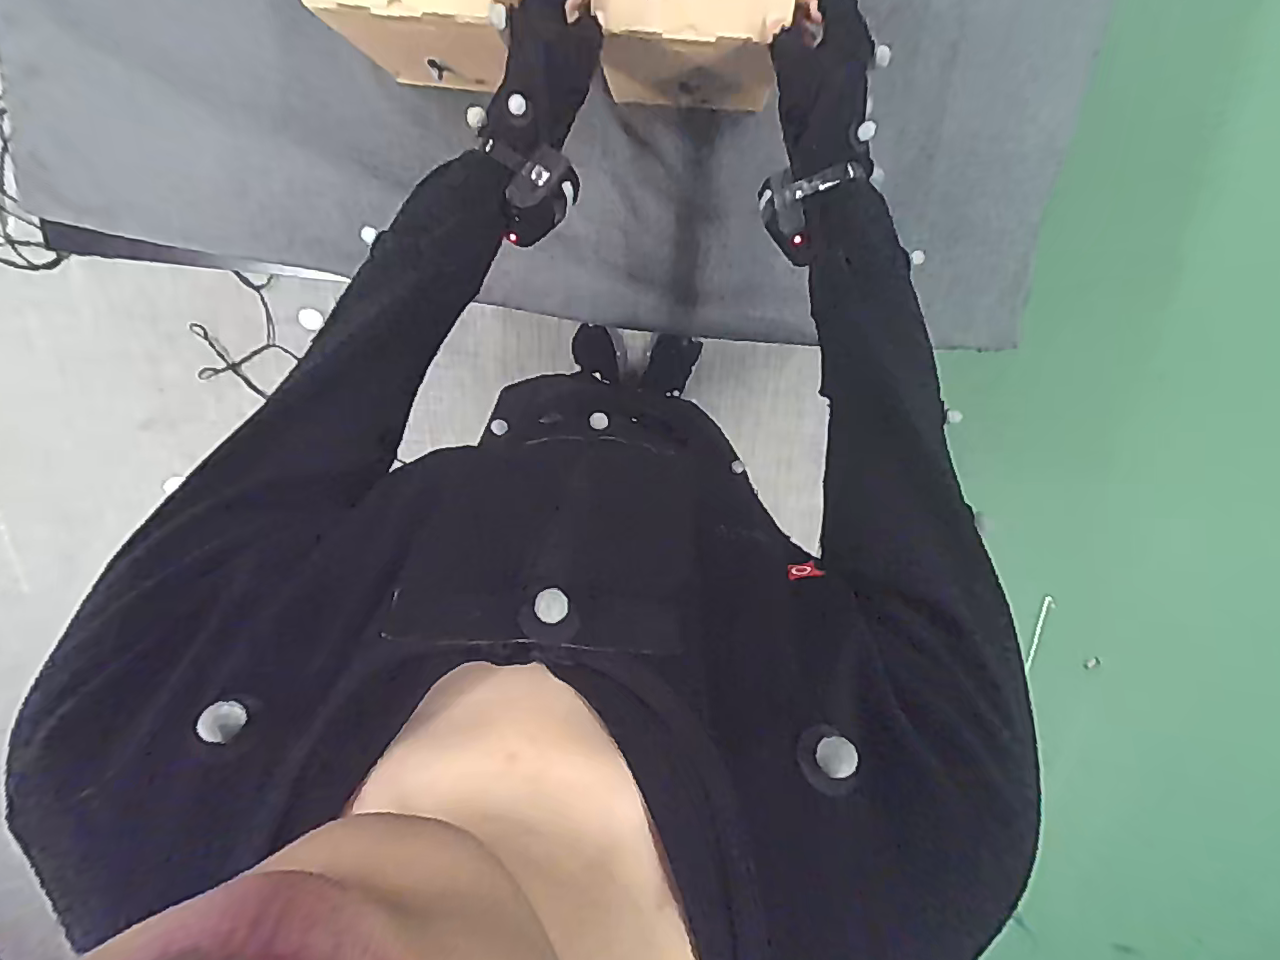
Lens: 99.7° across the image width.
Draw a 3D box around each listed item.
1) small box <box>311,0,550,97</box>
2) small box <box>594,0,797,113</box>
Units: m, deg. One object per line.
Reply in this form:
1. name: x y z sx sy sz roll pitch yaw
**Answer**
1. small box: -0.184 -0.496 0.506 0.168 0.176 0.179 7 109 3
2. small box: 0.056 -0.468 0.493 0.168 0.176 0.179 6 109 4
